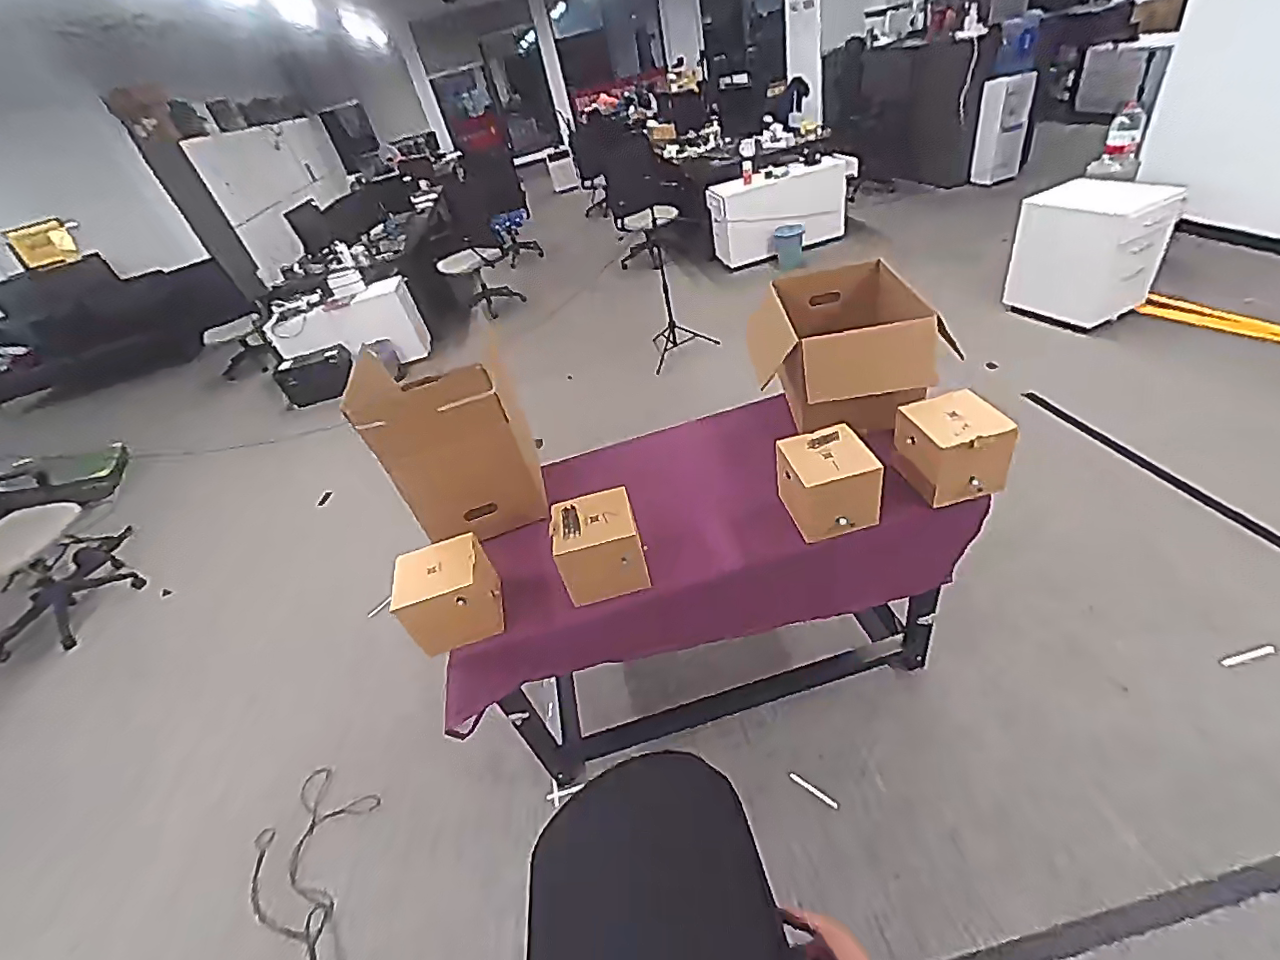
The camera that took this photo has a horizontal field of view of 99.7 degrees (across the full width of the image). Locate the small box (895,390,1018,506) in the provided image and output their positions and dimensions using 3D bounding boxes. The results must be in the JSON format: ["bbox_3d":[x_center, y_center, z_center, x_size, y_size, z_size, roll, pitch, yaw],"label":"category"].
[{"bbox_3d":[0.687,-0.071,1.200,0.168,0.176,0.179,-15,37,1],"label":"small box"}]

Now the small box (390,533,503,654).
[{"bbox_3d":[-0.417,0.251,1.185,0.179,0.176,0.168,-18,38,-5],"label":"small box"}]

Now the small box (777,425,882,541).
[{"bbox_3d":[0.413,0.007,1.202,0.168,0.176,0.179,-15,38,1],"label":"small box"}]
